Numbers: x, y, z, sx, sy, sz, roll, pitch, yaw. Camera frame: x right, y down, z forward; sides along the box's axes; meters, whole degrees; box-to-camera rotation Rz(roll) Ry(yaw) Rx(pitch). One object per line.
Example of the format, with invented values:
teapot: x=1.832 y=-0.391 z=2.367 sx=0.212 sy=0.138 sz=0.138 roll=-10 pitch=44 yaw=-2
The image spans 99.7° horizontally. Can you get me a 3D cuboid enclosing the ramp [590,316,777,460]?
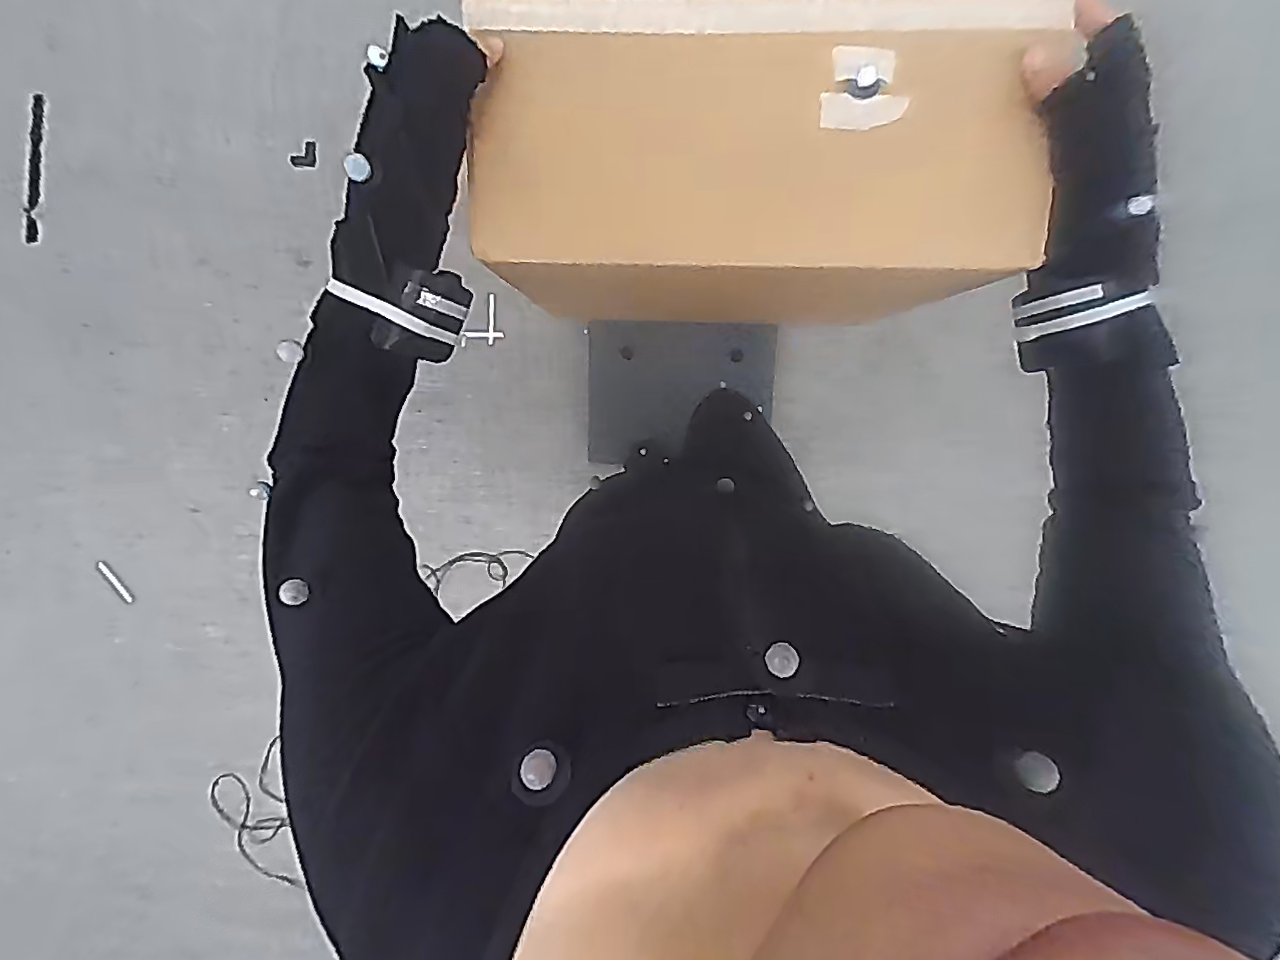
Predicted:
ramp: x=0.118 y=-0.548 z=1.387 sx=0.509 sy=0.206 sz=0.991 roll=-1 pitch=91 yaw=-1

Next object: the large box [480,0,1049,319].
large box: x=0.085 y=-0.340 z=0.526 sx=0.408 sy=0.320 sz=0.320 roll=1 pitch=99 yaw=1
